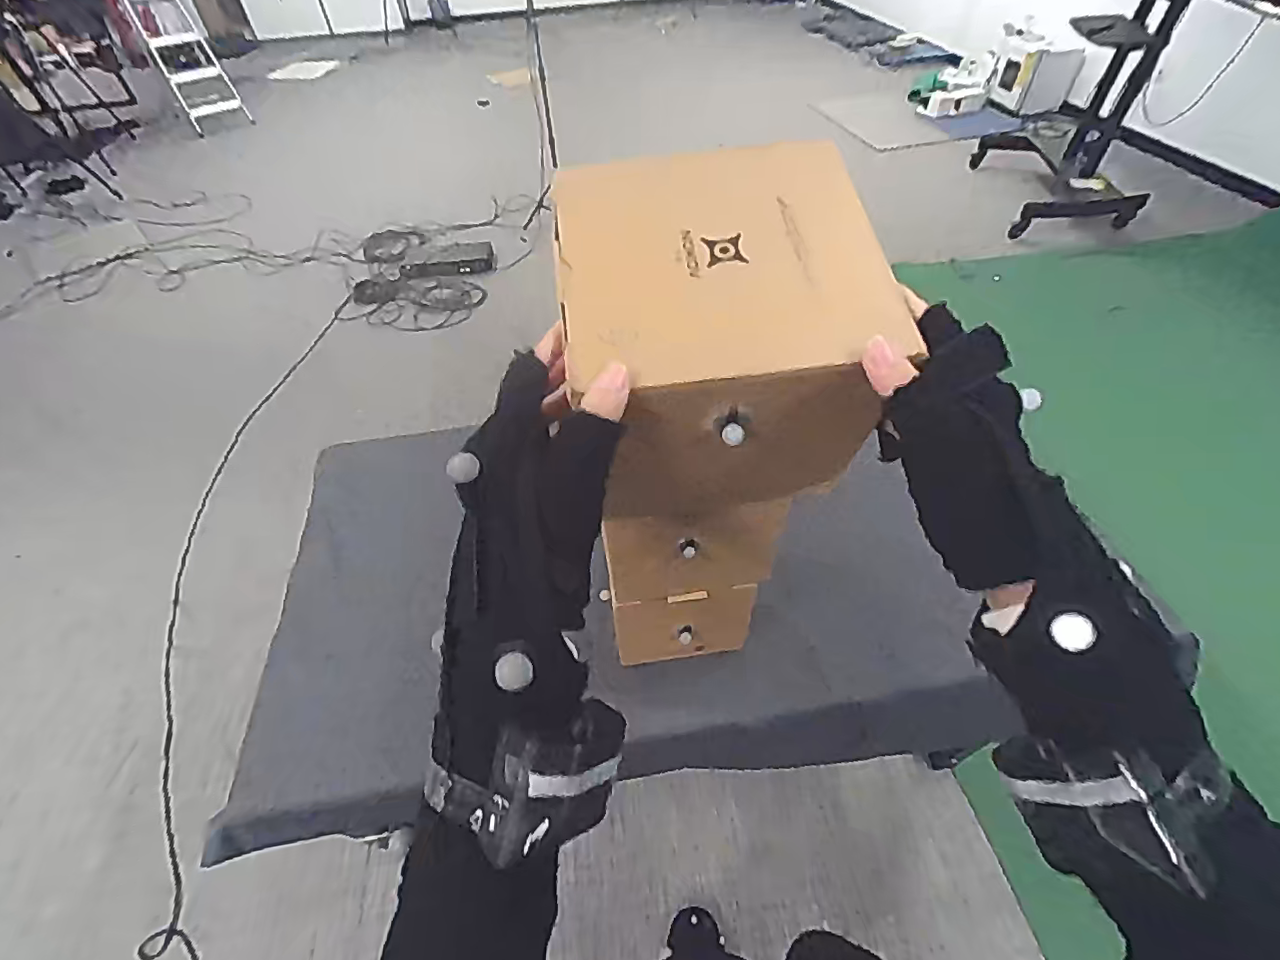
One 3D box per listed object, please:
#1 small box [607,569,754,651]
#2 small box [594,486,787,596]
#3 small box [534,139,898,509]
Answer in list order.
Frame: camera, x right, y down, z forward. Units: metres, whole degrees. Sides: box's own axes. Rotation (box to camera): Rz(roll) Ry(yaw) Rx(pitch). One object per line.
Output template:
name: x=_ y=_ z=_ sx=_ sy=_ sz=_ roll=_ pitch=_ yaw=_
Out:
small box: x=0.042 y=0.110 z=0.711 sx=0.168 sy=0.176 sz=0.179 roll=-9 pitch=50 yaw=-3
small box: x=0.039 y=0.005 z=0.584 sx=0.179 sy=0.176 sz=0.168 roll=-10 pitch=49 yaw=-3
small box: x=0.035 y=-0.091 z=0.369 sx=0.179 sy=0.176 sz=0.168 roll=-8 pitch=65 yaw=-2
